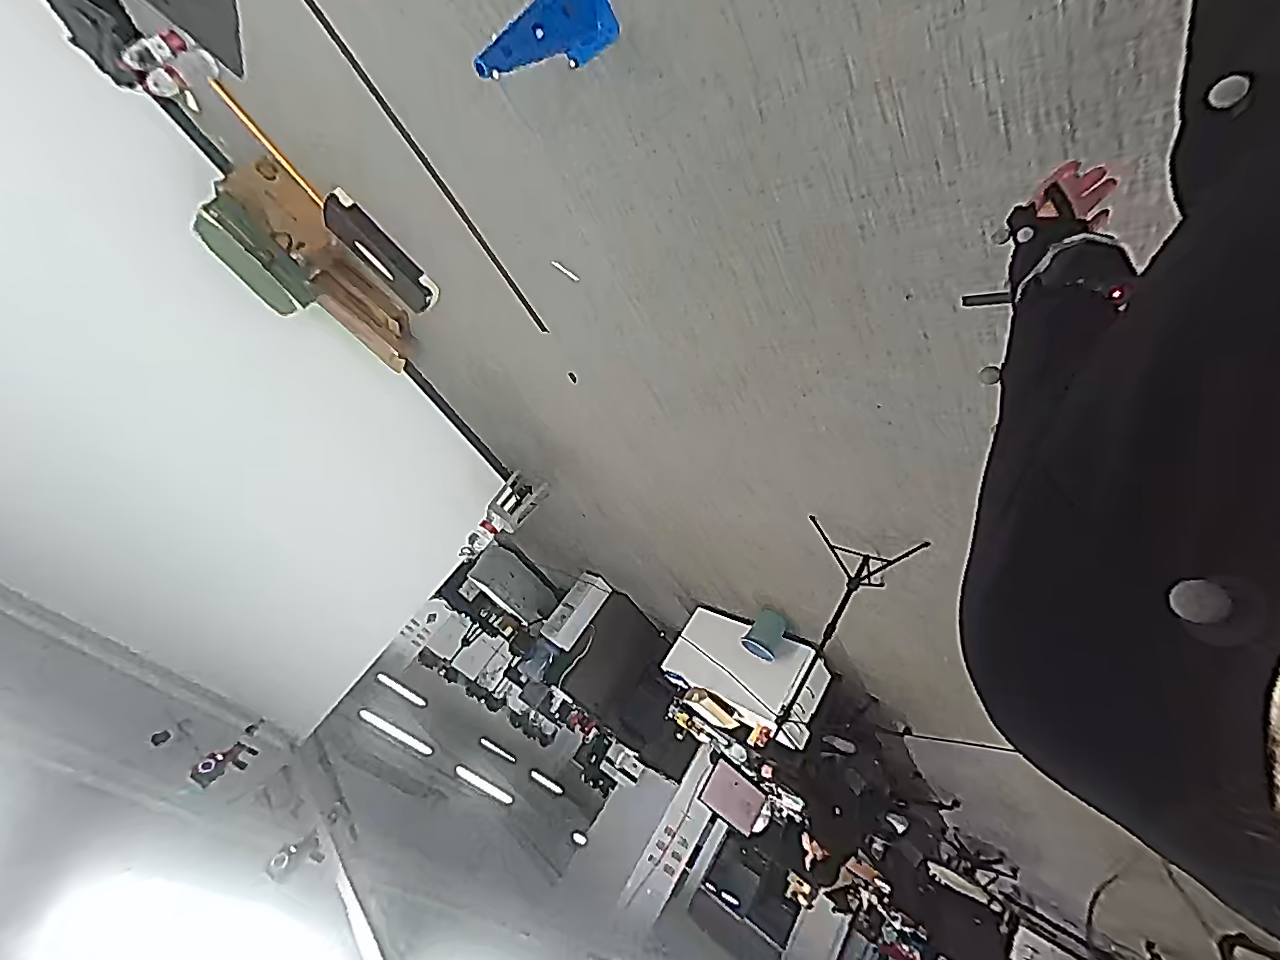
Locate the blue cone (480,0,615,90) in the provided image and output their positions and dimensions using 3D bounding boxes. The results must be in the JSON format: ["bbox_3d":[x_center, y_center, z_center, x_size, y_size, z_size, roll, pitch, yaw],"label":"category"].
[{"bbox_3d":[-0.251,-1.047,1.291,0.193,0.380,0.192,10,145,47],"label":"blue cone"}]
